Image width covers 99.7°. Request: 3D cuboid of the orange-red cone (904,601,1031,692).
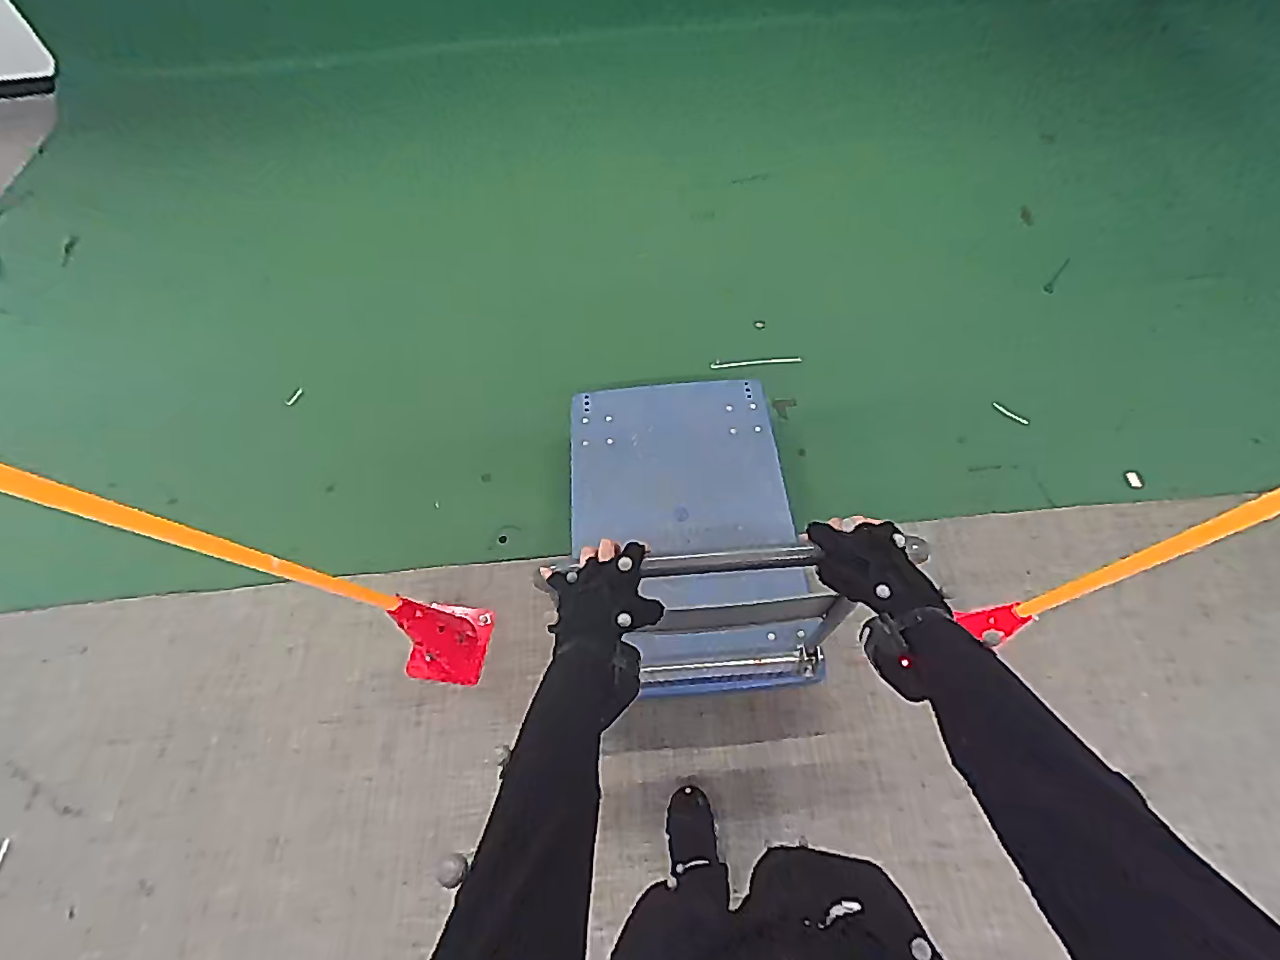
[{"bbox_3d":[0.779,0.349,1.240,0.198,0.360,0.199,4,61,6],"label":"orange-red cone"}]
